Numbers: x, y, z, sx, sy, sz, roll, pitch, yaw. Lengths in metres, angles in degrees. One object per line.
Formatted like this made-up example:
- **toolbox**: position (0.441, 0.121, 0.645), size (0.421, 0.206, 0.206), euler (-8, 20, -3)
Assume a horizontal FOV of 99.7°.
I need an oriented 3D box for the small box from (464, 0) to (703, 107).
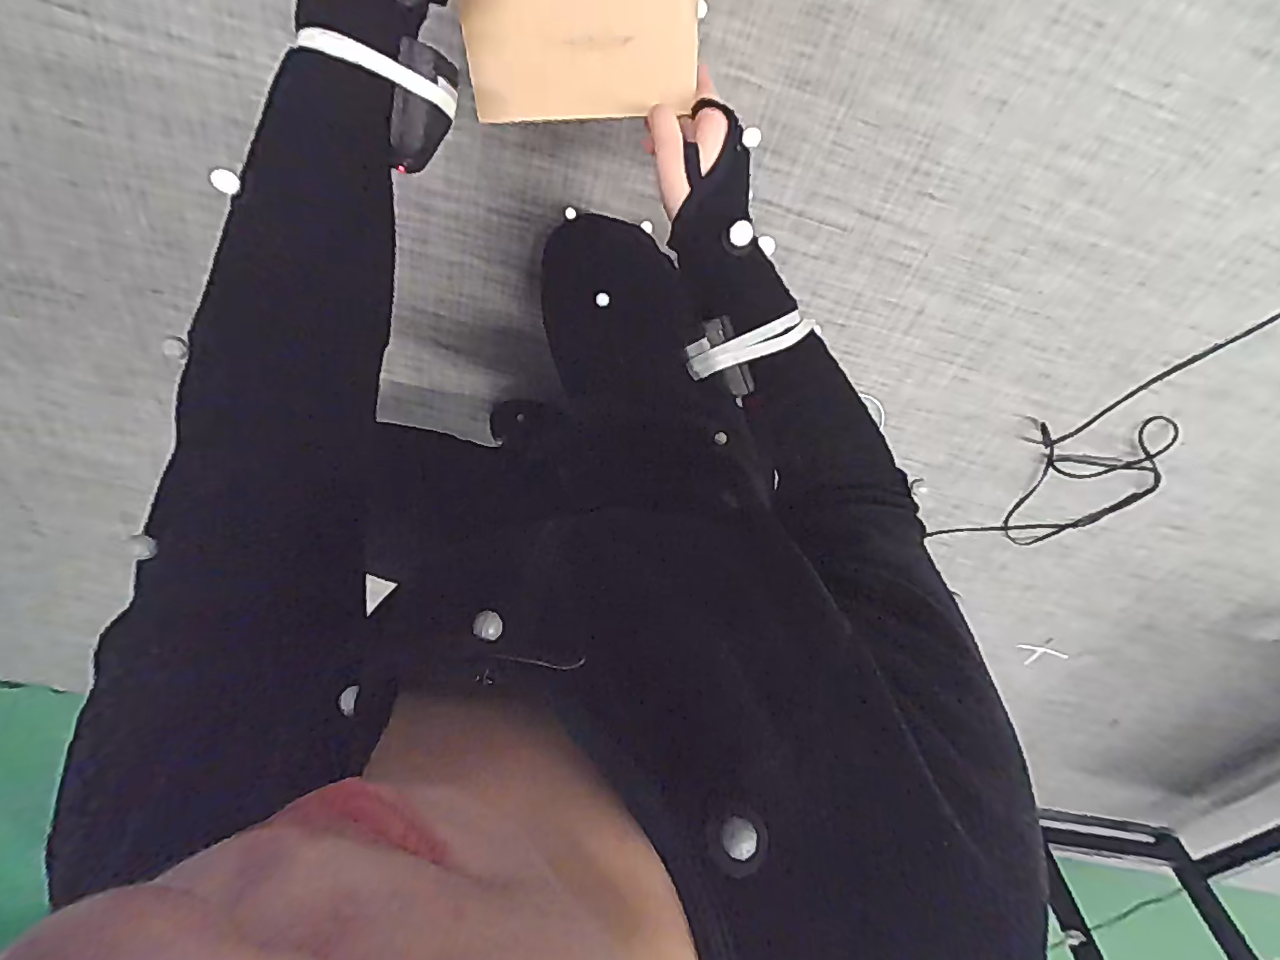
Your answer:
- **small box**: position (-0.036, -0.396, 0.412), size (0.168, 0.176, 0.179), euler (1, 129, 4)
